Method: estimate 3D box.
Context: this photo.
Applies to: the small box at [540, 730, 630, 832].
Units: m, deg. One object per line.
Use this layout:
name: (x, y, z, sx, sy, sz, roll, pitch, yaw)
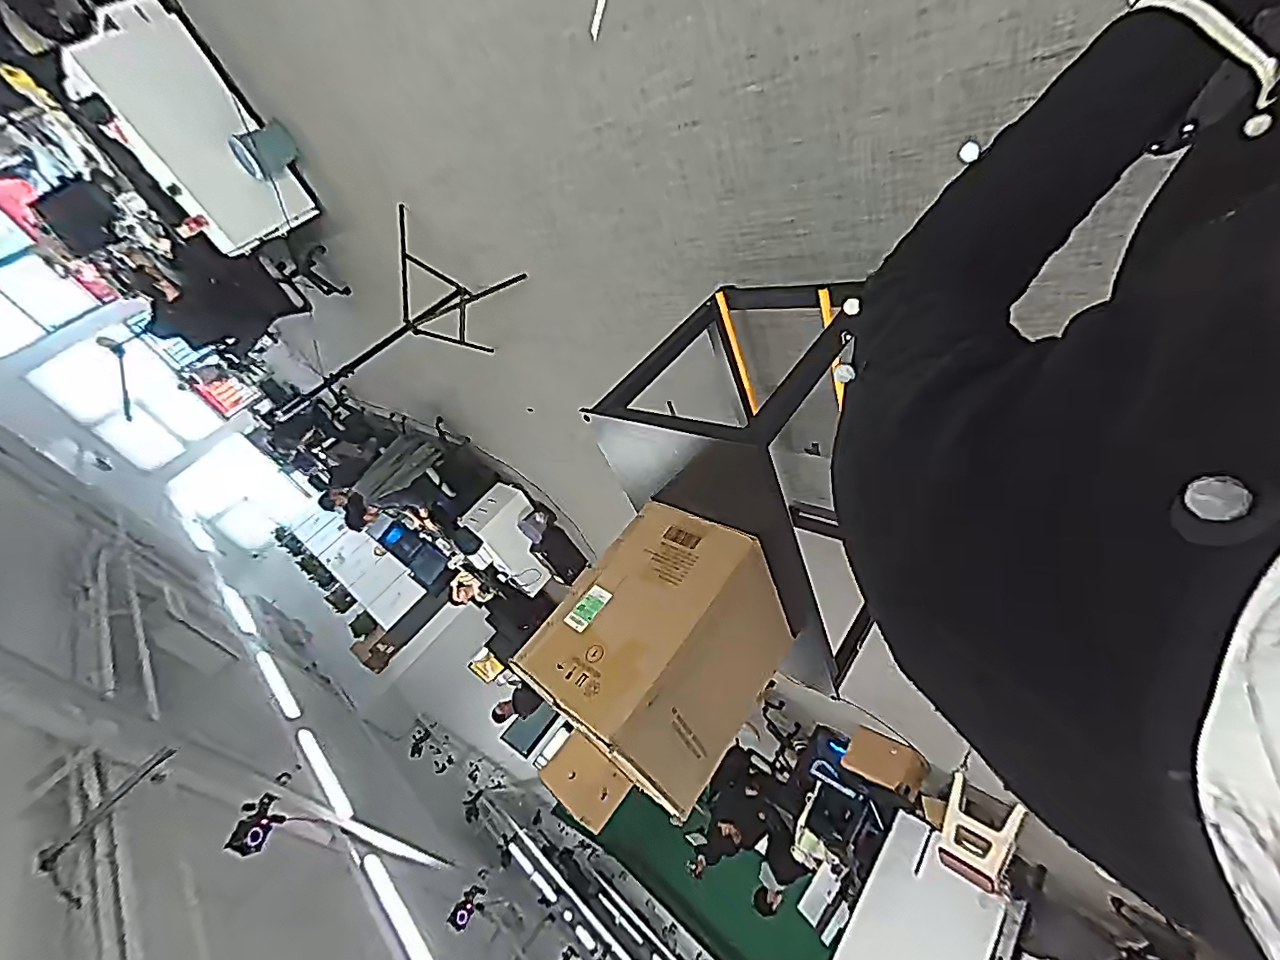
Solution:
small box: (-0.150, 0.870, 1.579, 0.179, 0.176, 0.168, 16, 144, 47)
